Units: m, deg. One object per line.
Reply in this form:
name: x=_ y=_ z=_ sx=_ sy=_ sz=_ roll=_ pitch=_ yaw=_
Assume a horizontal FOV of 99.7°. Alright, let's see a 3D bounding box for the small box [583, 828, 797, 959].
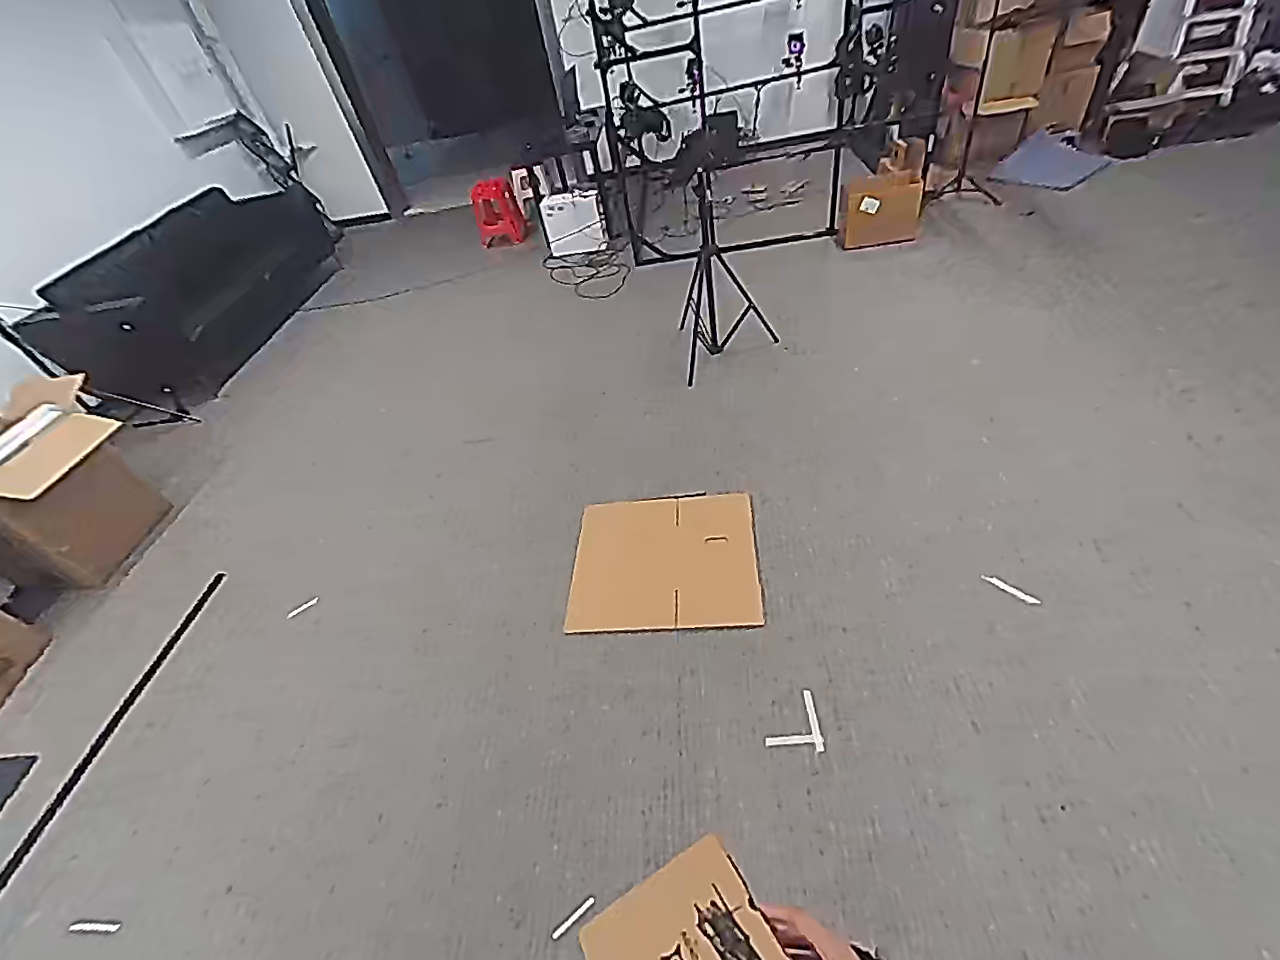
small box: x=0.068 y=0.522 z=0.561 sx=0.179 sy=0.176 sz=0.168 roll=-28 pitch=28 yaw=-13
